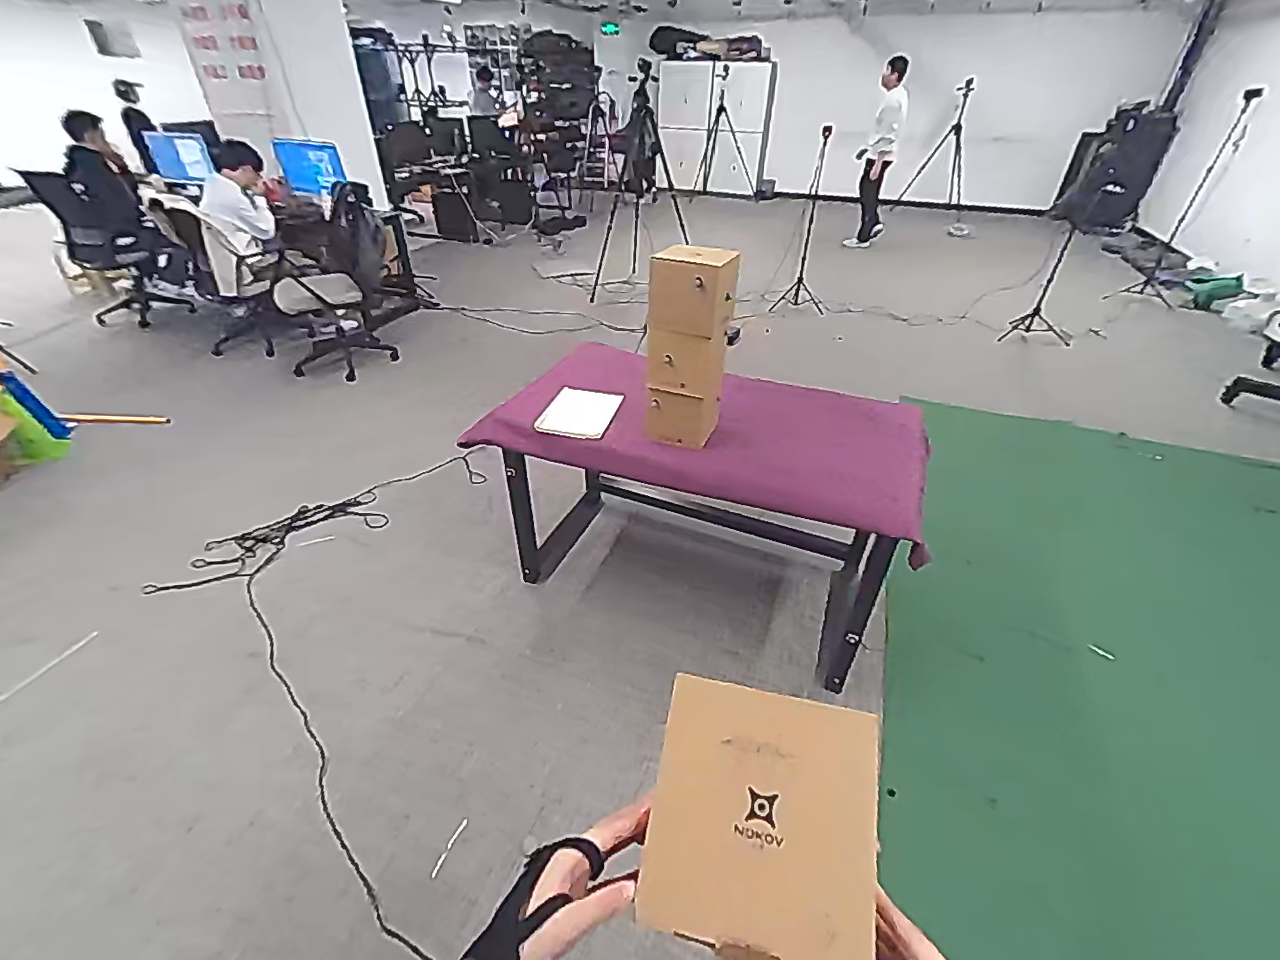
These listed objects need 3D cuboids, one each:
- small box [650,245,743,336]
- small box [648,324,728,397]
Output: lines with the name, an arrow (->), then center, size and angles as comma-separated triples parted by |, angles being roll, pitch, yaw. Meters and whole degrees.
small box -> 0.136, -0.466, 1.331 | 0.179, 0.176, 0.168 | 16, 37, 21
small box -> 0.128, -0.336, 1.433 | 0.168, 0.176, 0.179 | 15, 37, 19
